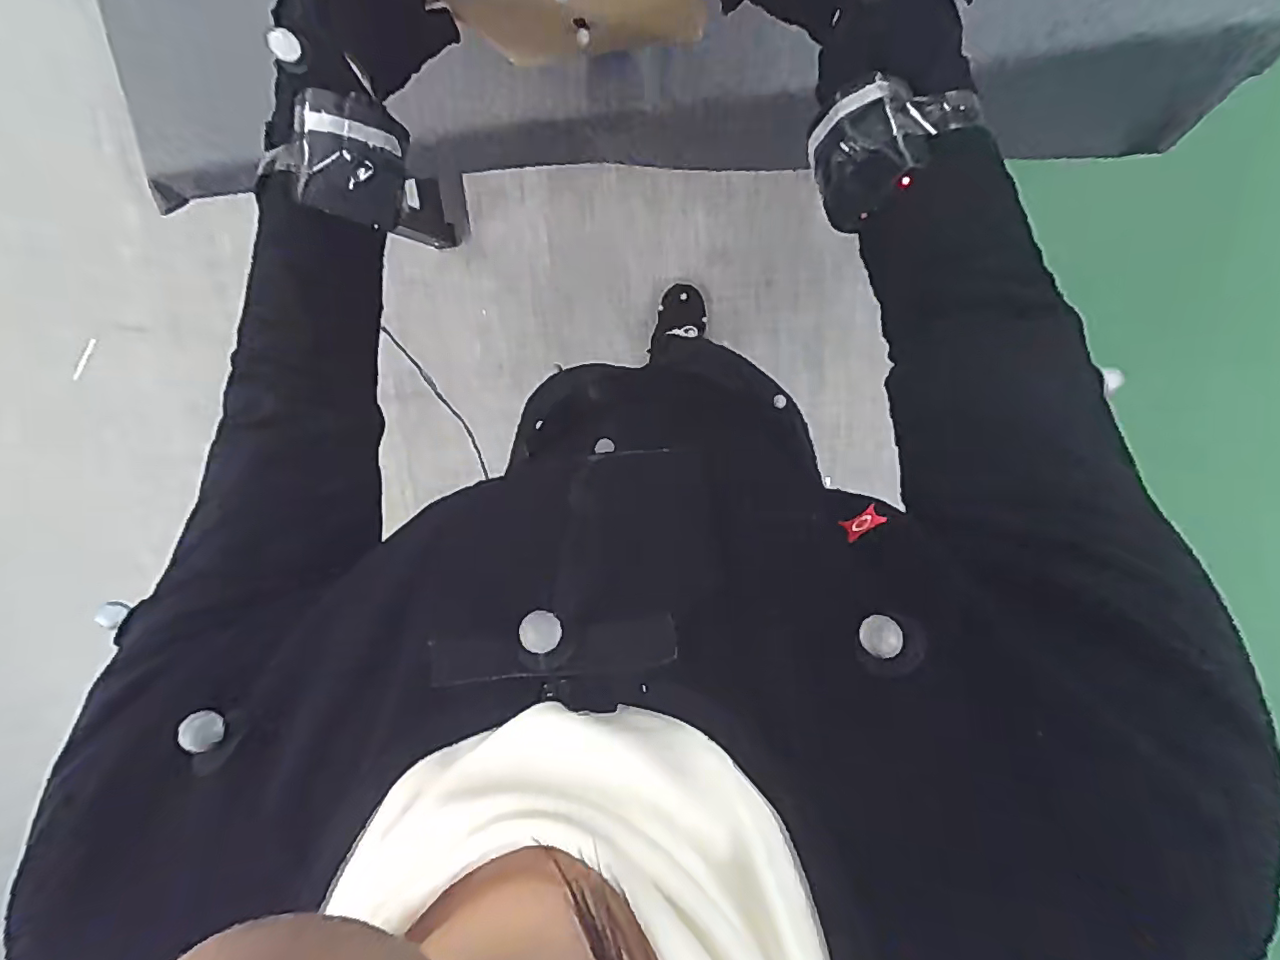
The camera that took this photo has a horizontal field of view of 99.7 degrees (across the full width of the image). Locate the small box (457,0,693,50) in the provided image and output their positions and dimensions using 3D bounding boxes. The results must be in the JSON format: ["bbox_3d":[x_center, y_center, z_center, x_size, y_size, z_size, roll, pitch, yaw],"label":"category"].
[{"bbox_3d":[-0.047,-0.445,0.395,0.179,0.176,0.168,-3,116,9],"label":"small box"}]
